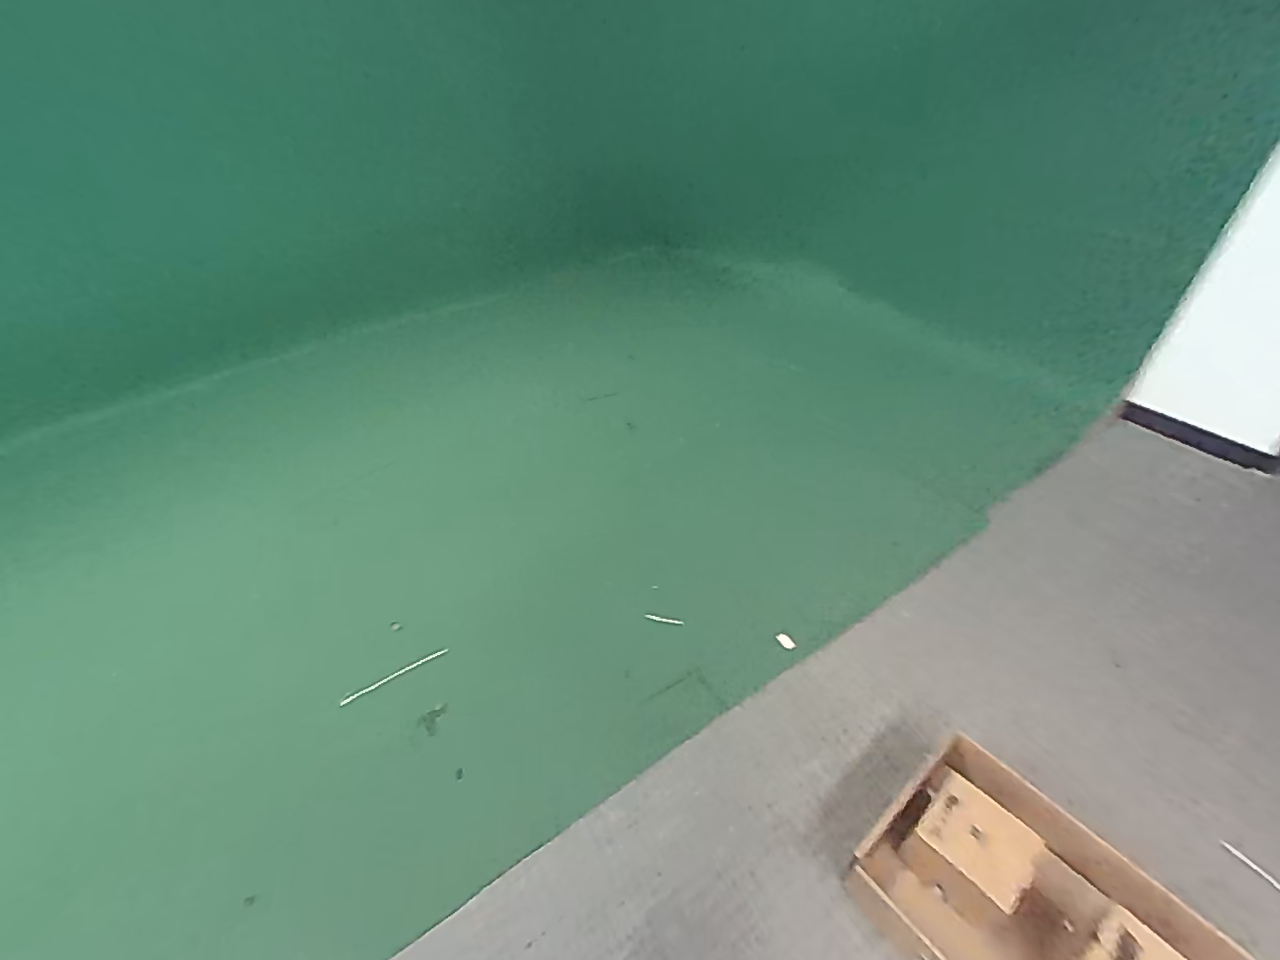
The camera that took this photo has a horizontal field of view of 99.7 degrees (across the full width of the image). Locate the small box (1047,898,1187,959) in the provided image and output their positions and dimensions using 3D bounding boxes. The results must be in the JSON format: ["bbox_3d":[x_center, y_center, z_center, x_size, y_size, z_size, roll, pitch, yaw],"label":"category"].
[{"bbox_3d":[0.840,0.885,0.935,0.168,0.176,0.179,-30,47,-24],"label":"small box"}]

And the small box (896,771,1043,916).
[{"bbox_3d":[0.663,0.746,1.106,0.168,0.176,0.179,-33,50,-27],"label":"small box"}]
